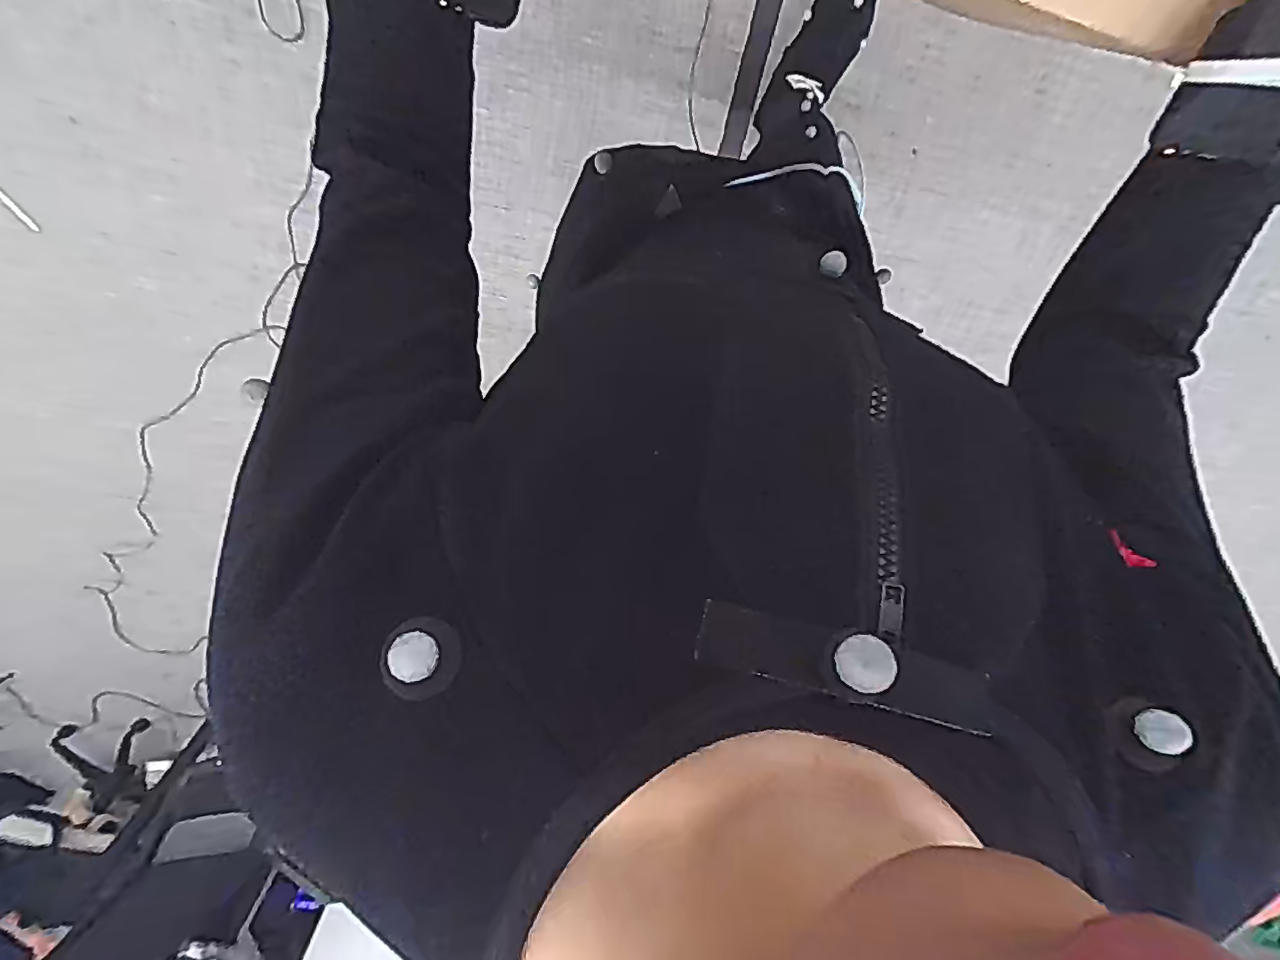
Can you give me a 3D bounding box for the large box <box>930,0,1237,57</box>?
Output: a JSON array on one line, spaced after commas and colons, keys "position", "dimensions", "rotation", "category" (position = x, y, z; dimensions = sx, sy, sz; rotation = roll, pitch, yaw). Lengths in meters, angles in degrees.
[{"position": [0.164, -0.487, 0.282], "dimensions": [0.408, 0.320, 0.320], "rotation": [12, 135, -9], "category": "large box"}]
